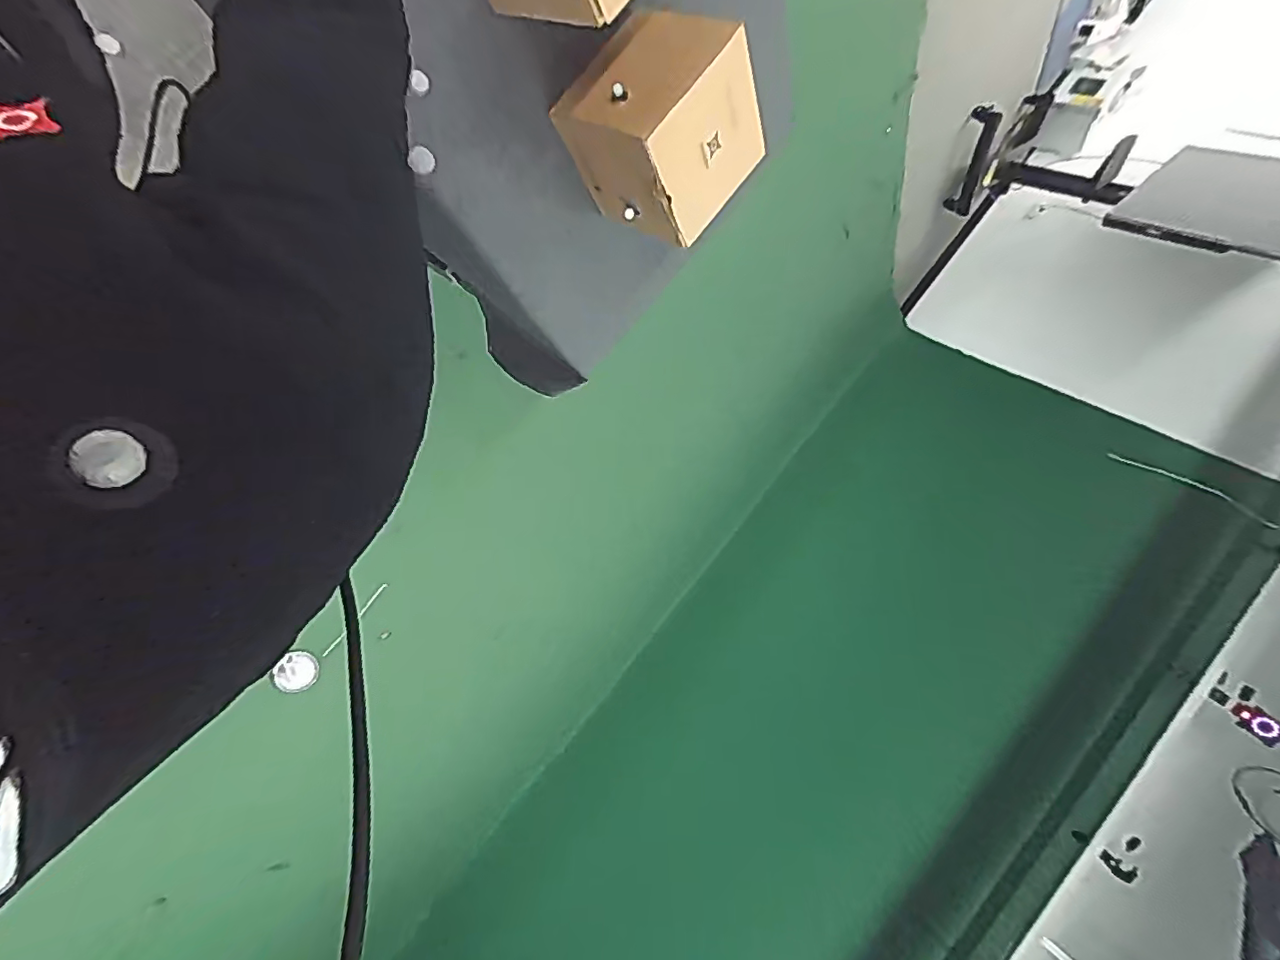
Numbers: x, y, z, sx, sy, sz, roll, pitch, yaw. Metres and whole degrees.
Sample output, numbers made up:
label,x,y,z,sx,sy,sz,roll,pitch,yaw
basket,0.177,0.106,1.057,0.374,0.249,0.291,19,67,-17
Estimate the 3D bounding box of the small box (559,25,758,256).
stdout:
label,x,y,z,sx,sy,sz,roll,pitch,yaw
small box,0.020,-0.428,0.686,0.179,0.176,0.168,-53,152,-4
